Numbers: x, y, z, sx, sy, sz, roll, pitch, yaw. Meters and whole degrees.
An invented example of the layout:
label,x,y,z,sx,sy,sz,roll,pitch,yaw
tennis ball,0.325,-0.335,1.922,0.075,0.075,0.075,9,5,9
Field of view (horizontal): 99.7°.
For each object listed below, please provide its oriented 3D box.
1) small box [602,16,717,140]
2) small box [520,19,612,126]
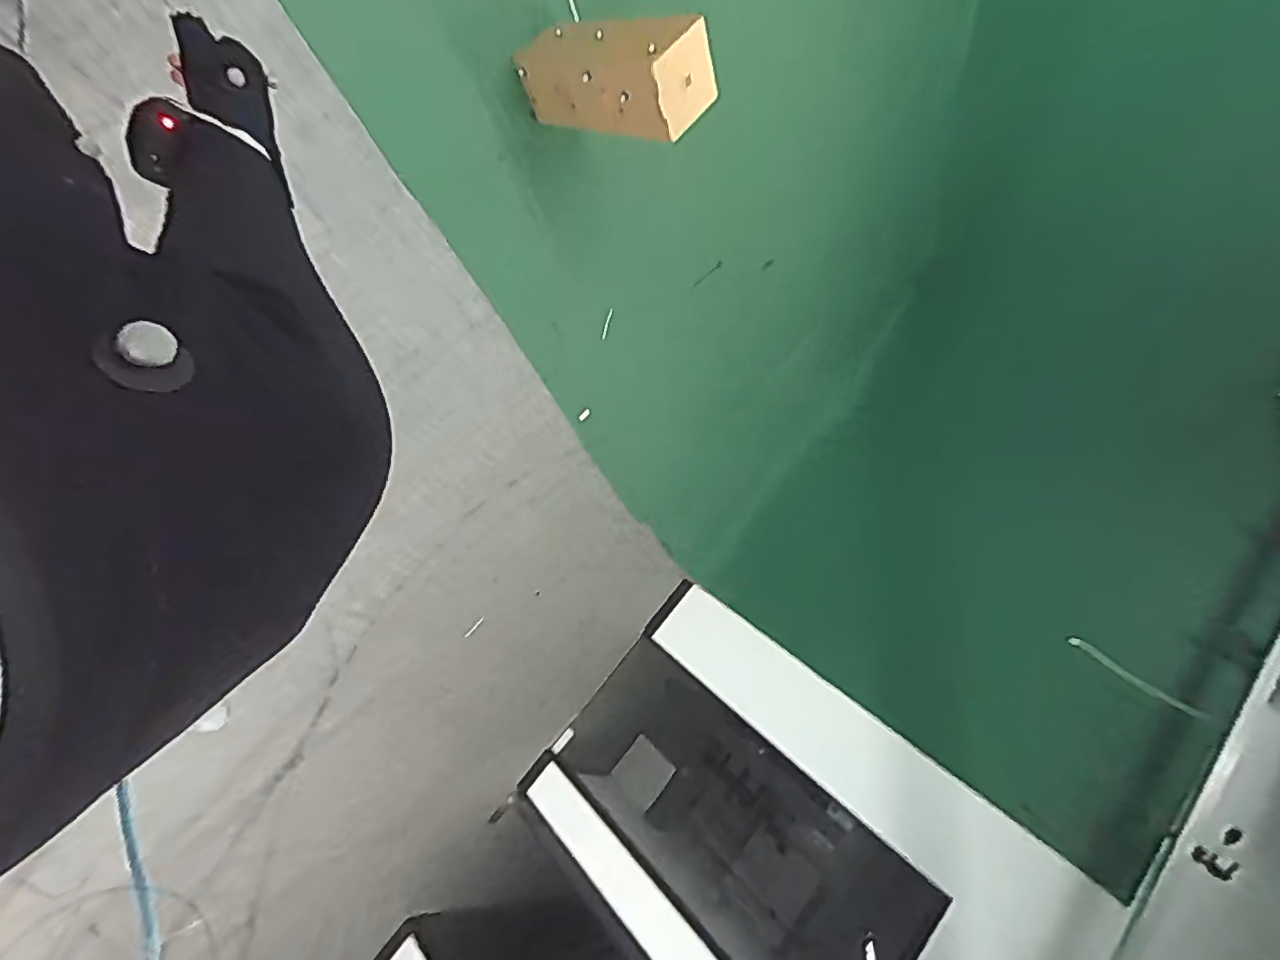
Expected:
label,x,y,z,sx,sy,sz,roll,pitch,yaw
small box,0.046,-0.916,1.228,0.179,0.176,0.168,-50,147,-10
small box,-0.187,-1.060,1.408,0.179,0.176,0.168,-48,147,-13
